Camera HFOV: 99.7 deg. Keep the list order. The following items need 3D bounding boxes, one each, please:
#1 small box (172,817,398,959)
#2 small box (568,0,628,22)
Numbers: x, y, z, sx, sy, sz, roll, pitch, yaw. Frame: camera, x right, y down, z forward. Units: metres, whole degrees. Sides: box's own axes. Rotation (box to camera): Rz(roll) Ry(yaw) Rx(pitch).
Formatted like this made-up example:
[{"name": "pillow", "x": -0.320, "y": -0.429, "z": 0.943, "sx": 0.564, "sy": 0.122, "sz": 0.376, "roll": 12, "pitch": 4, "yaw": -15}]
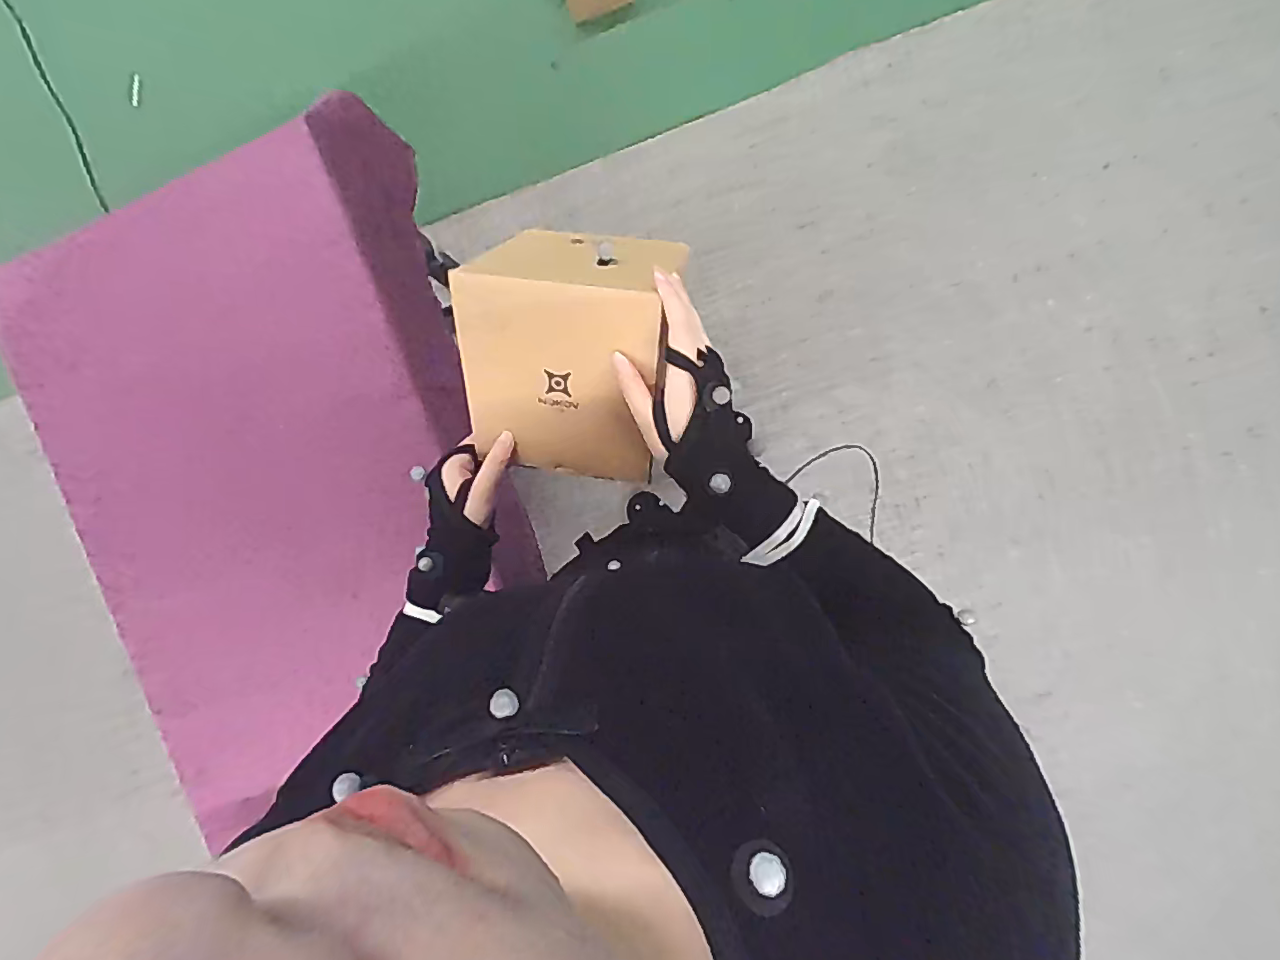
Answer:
[{"name": "small box", "x": -0.483, "y": 0.621, "z": 0.761, "sx": 0.179, "sy": 0.176, "sz": 0.168, "roll": -21, "pitch": 90, "yaw": 6}, {"name": "small box", "x": -0.123, "y": -1.331, "z": 1.371, "sx": 0.179, "sy": 0.176, "sz": 0.168, "roll": -16, "pitch": 91, "yaw": 7}]
